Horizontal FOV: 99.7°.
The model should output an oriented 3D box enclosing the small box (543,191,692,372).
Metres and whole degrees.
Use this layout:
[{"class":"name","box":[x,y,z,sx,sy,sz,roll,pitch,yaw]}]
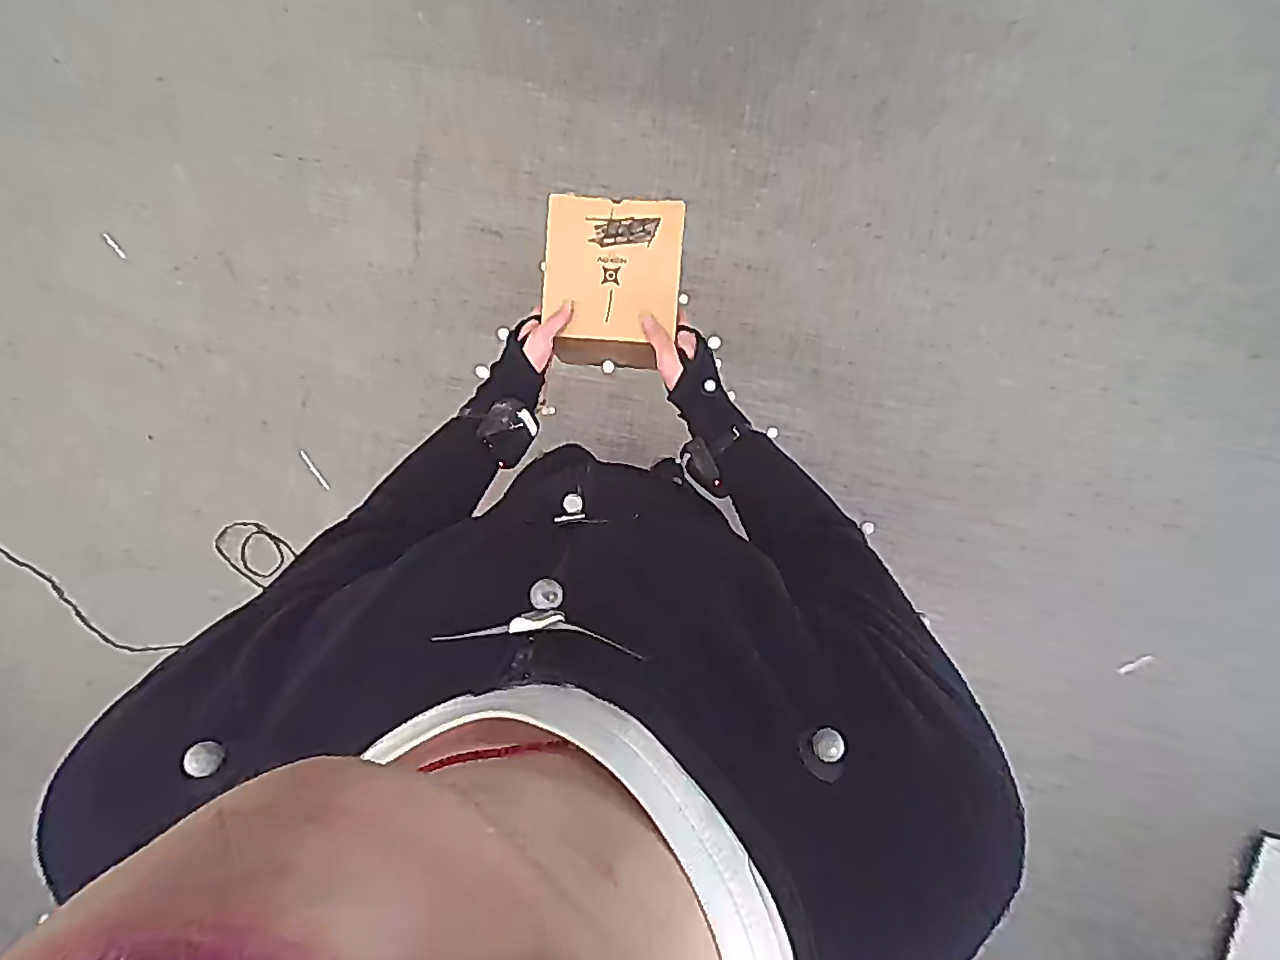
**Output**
[{"class":"small box","box":[-0.027,-0.255,0.730,0.168,0.176,0.179,6,91,1]}]
